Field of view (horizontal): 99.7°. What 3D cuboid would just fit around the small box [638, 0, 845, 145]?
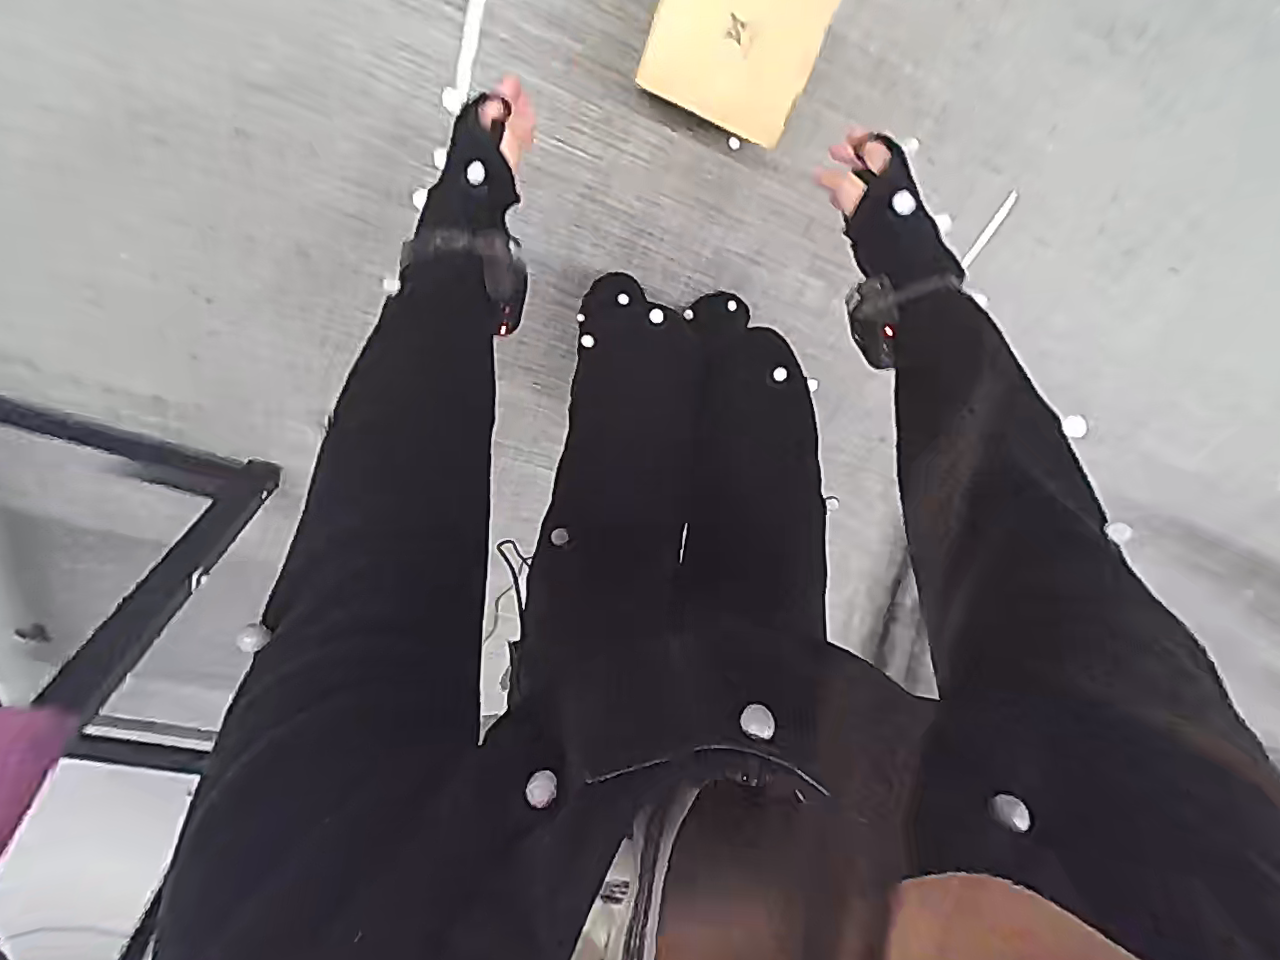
[{"bbox_3d":[0.105,-0.521,0.630,0.179,0.176,0.168,16,125,-16],"label":"small box"}]
